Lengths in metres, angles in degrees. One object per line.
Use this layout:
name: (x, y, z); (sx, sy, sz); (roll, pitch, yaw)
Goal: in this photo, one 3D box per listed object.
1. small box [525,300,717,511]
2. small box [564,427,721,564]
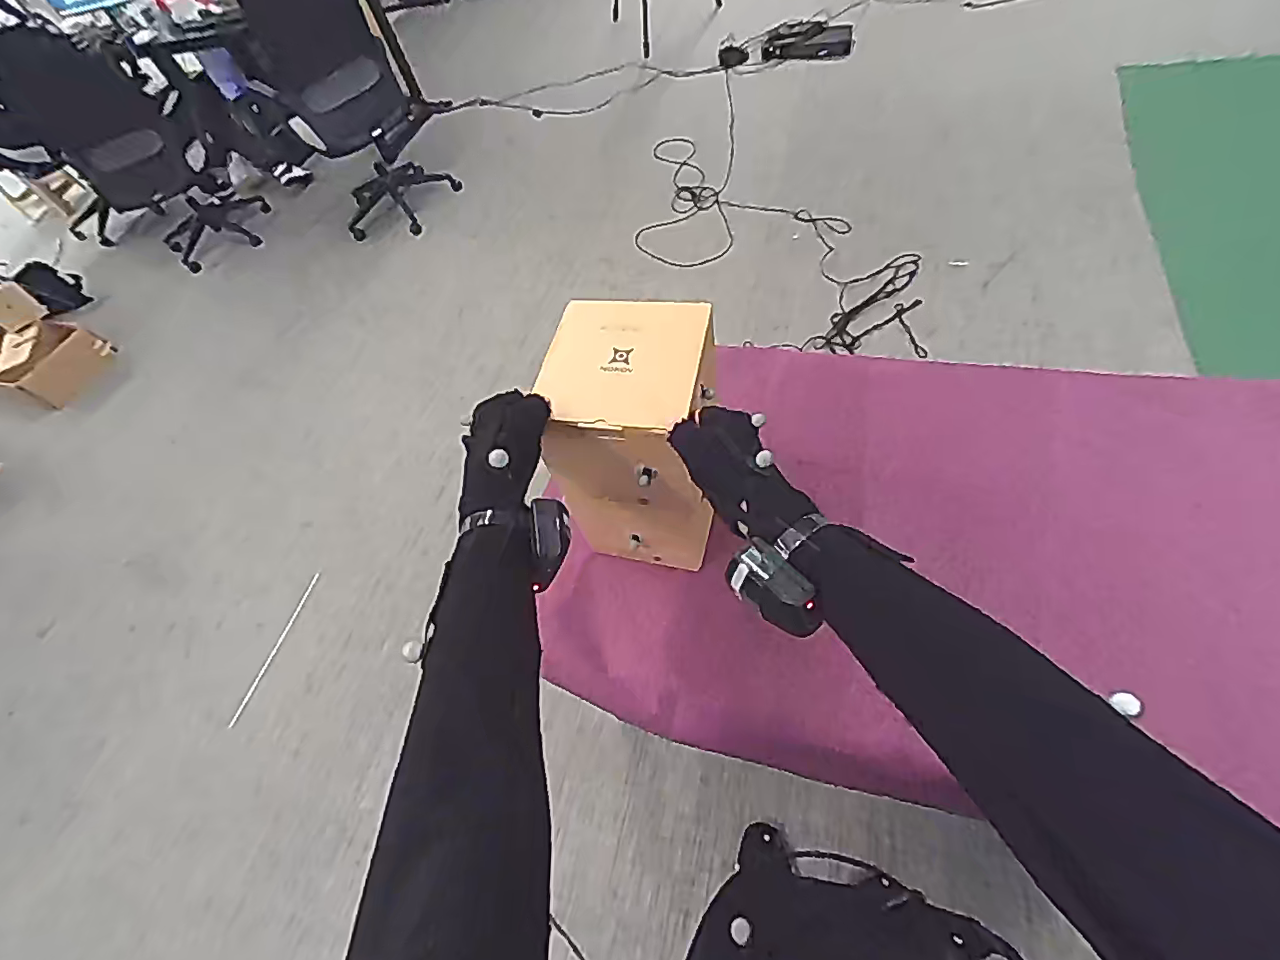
small box: (-0.005, -0.081, 0.620); (0.168, 0.176, 0.179); (6, 59, 14)
small box: (0.017, 0.001, 0.762); (0.168, 0.176, 0.179); (8, 61, 17)
